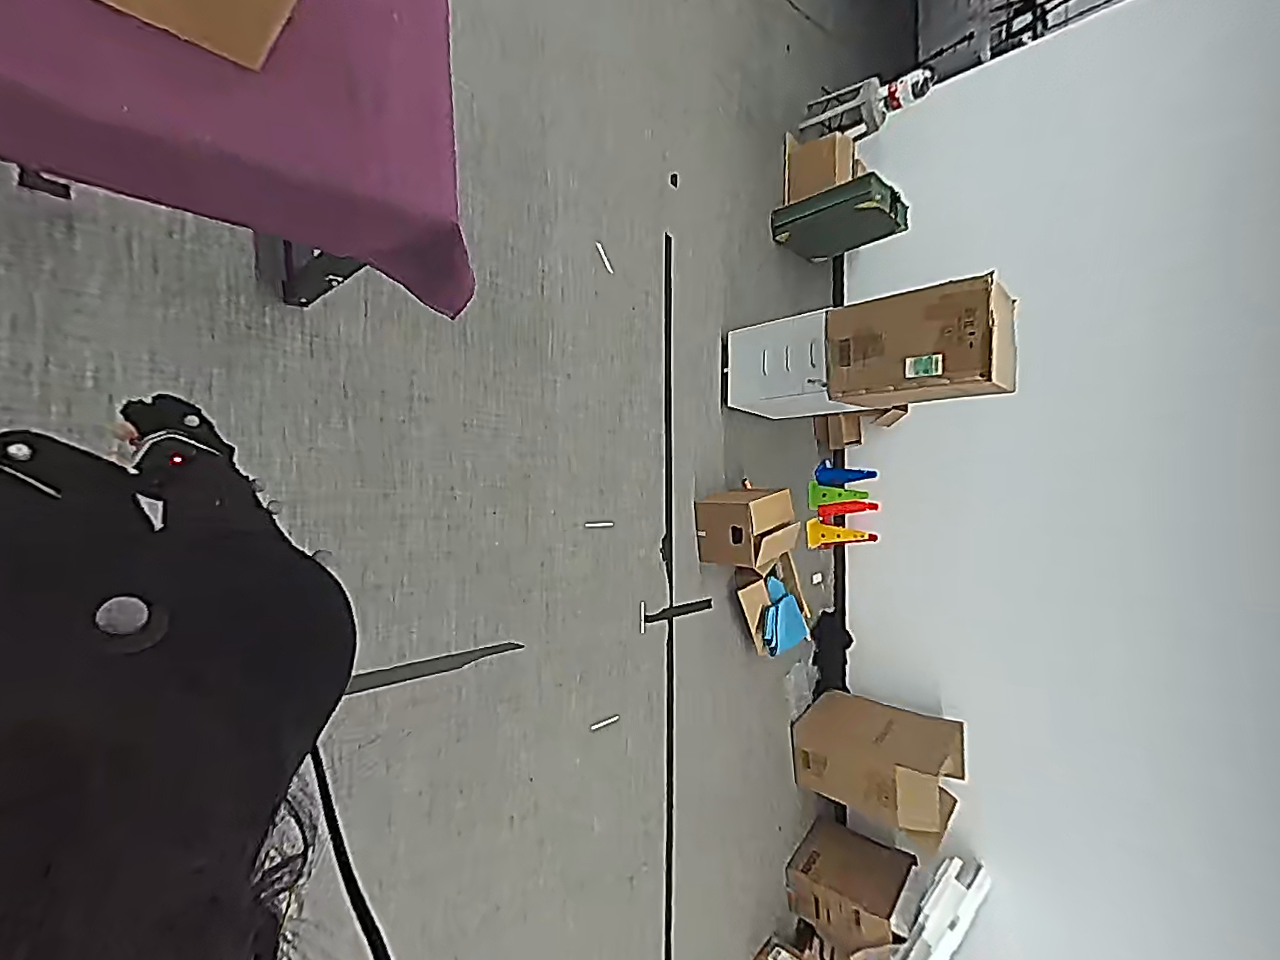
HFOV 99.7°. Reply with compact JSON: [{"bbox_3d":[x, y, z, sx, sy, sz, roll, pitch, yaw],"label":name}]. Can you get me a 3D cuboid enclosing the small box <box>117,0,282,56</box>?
[{"bbox_3d":[-0.496,-0.615,0.583,0.179,0.176,0.168,-2,91,-48],"label":"small box"}]
